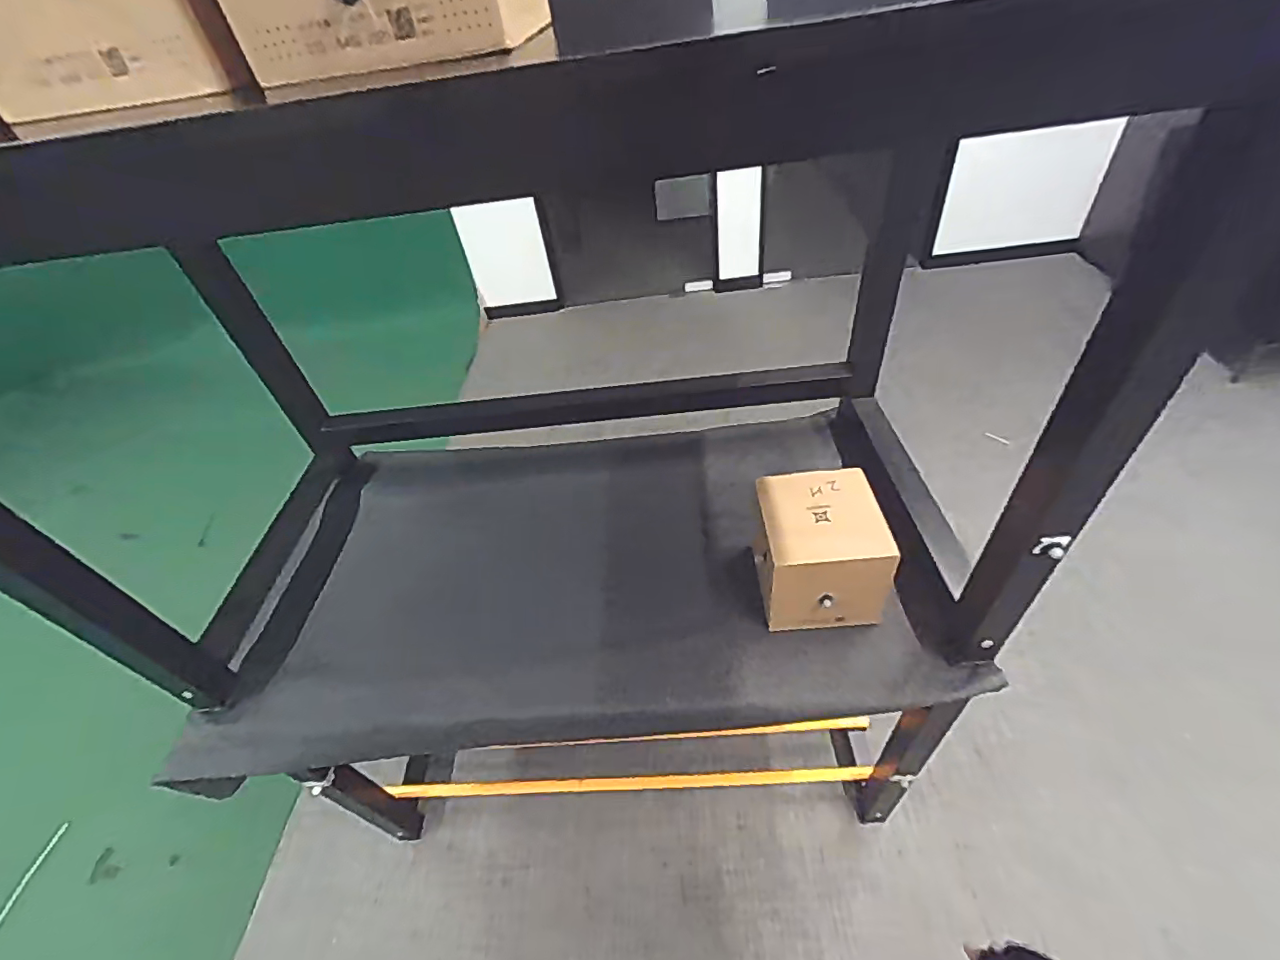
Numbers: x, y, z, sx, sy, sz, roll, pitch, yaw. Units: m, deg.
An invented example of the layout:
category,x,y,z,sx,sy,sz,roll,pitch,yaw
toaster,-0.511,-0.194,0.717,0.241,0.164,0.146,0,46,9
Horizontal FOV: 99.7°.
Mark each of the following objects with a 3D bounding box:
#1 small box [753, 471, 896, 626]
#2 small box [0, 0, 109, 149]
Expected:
category,x,y,z,sx,sy,sz,roll,pitch,yaw
small box,0.269,0.110,0.831,0.168,0.176,0.179,-5,43,4
small box,-0.553,-0.339,0.385,0.168,0.176,0.179,-4,45,6
